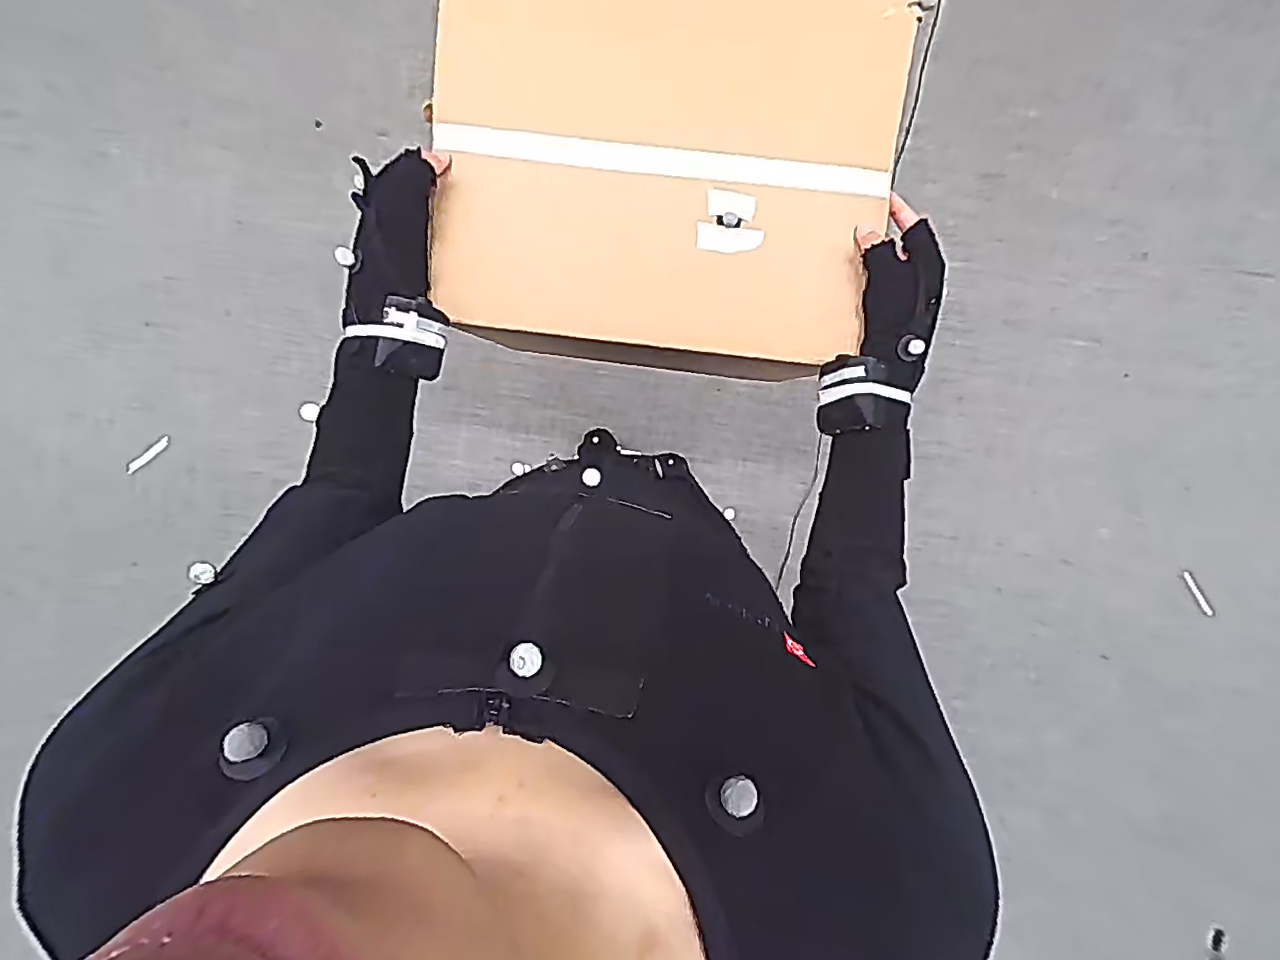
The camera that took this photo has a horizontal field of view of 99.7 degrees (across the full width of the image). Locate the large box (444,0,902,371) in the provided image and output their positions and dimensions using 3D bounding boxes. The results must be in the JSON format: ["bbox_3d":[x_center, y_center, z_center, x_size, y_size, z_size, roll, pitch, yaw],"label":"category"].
[{"bbox_3d":[0.022,-0.311,0.644,0.408,0.320,0.320,6,99,0],"label":"large box"}]
